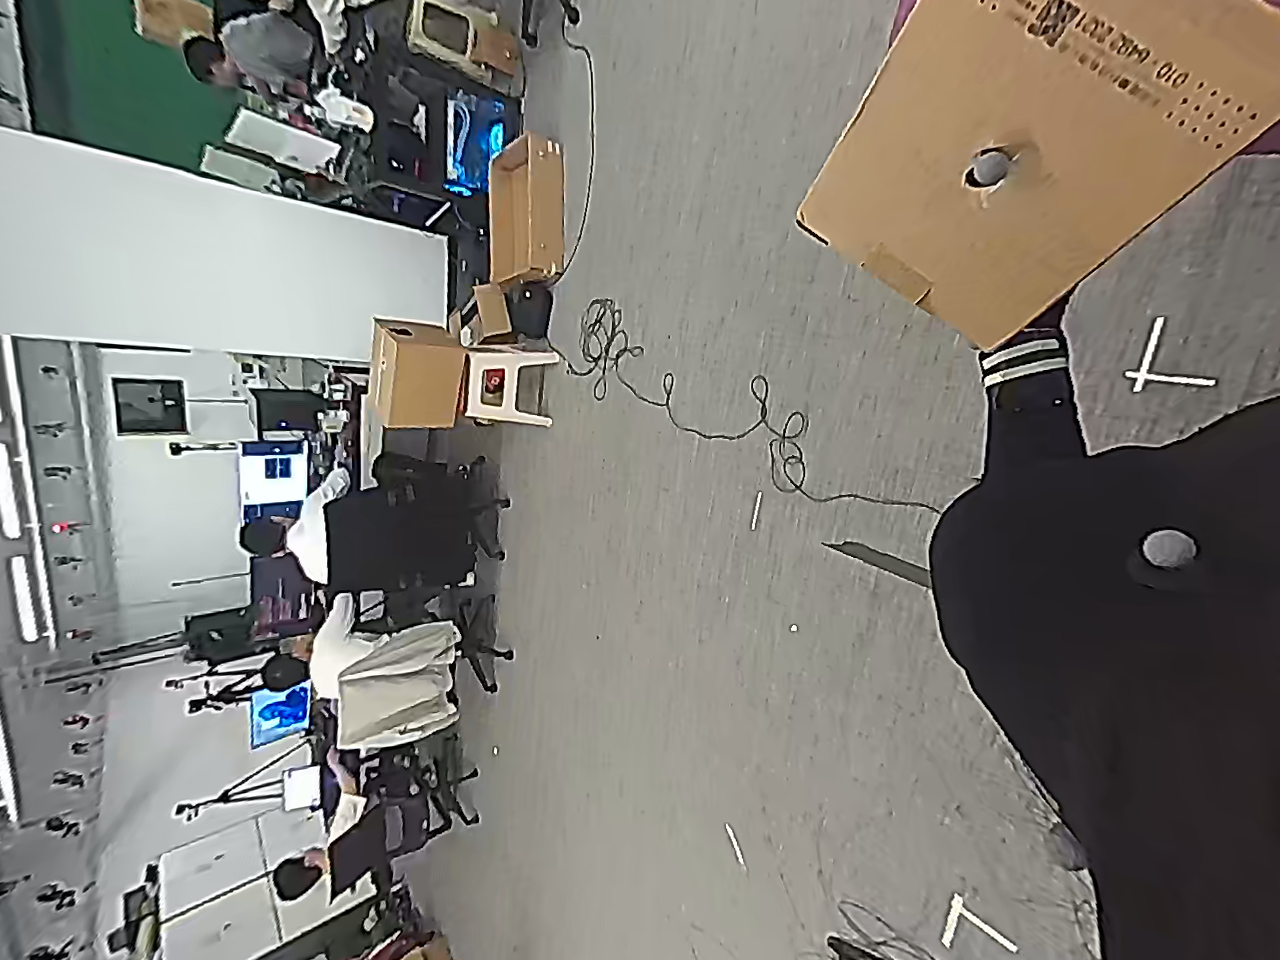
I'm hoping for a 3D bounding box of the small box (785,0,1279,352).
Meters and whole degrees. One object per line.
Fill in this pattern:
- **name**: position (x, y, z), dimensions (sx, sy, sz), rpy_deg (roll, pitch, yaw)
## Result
- **small box**: position (0.227, -0.222, 0.335), dimensions (0.168, 0.179, 0.176), rpy_deg (38, 148, 6)
